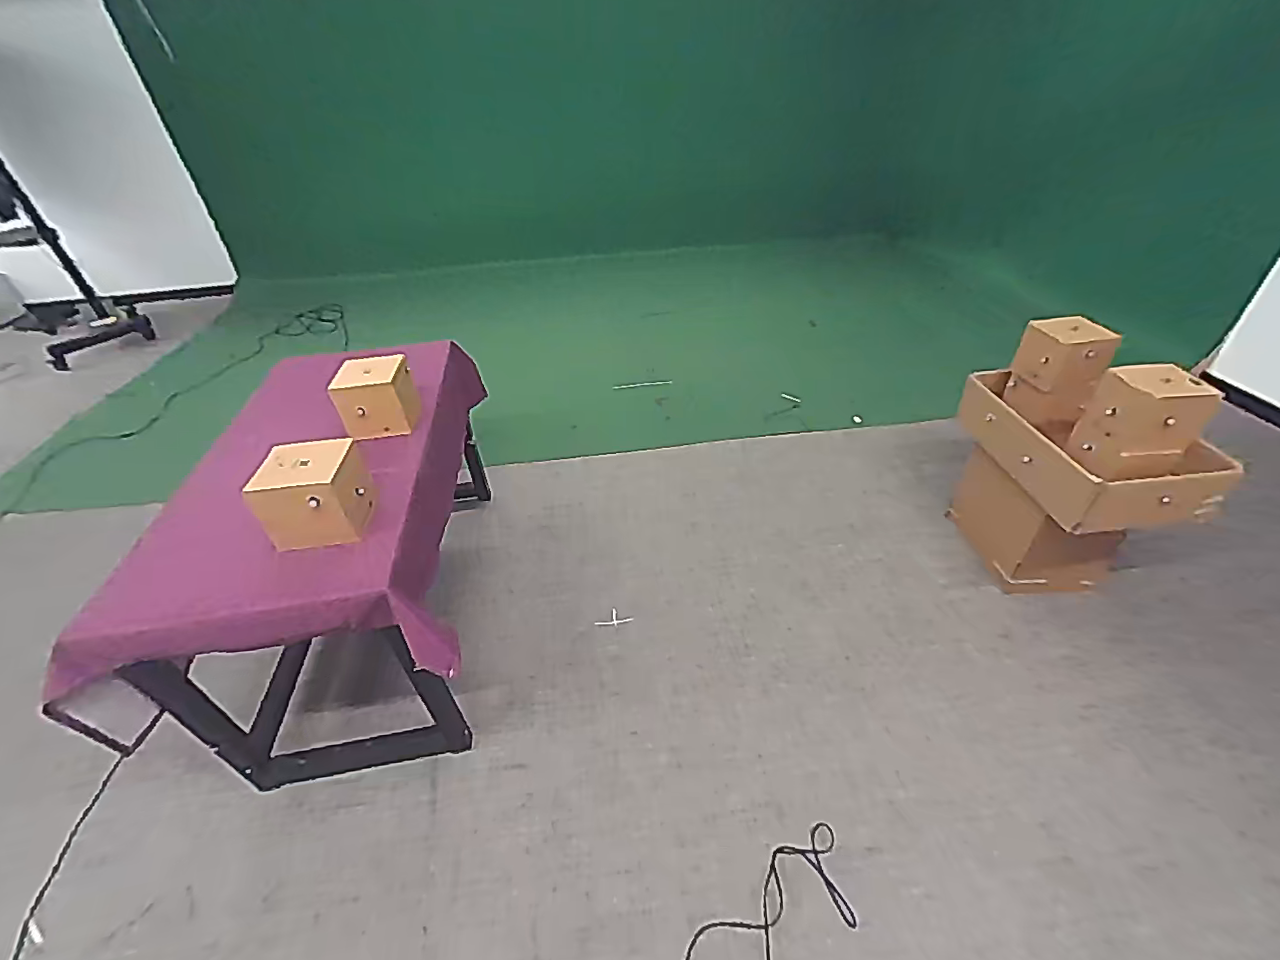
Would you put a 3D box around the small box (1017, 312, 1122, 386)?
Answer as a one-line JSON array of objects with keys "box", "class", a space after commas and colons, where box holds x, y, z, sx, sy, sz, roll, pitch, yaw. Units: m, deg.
[{"box": [1.313, -0.403, 1.674, 0.179, 0.176, 0.168, -8, 40, -5], "class": "small box"}]

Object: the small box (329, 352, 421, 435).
[{"box": [-0.732, -0.238, 1.519, 0.168, 0.176, 0.179, -8, 39, -4], "class": "small box"}]

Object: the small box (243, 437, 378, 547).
[{"box": [-0.703, 0.027, 1.184, 0.179, 0.176, 0.168, -7, 38, -3], "class": "small box"}]

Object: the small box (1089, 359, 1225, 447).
[{"box": [1.337, -0.200, 1.421, 0.179, 0.176, 0.168, -4, 40, 1], "class": "small box"}]
